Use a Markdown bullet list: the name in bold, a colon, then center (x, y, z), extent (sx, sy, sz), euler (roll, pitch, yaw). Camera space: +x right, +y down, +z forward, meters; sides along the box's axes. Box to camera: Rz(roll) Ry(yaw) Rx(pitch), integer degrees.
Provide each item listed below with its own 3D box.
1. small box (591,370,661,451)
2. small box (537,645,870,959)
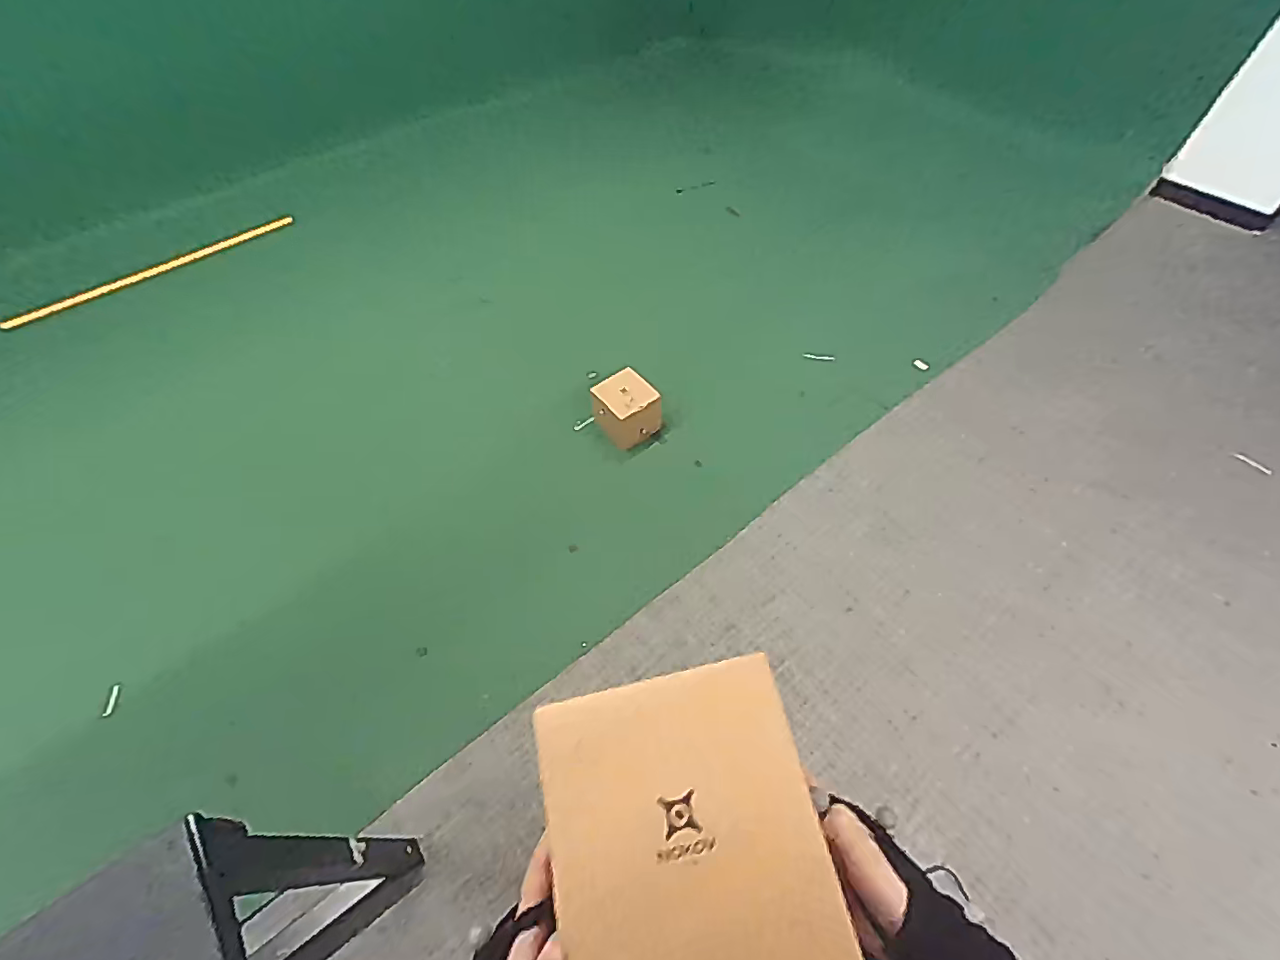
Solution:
- **small box**: center (-0.048, -0.232, 1.823), extent (0.168, 0.176, 0.179), euler (-33, 61, -20)
- **small box**: center (0.031, 0.241, 0.395), extent (0.168, 0.176, 0.179), euler (-13, 62, -3)
